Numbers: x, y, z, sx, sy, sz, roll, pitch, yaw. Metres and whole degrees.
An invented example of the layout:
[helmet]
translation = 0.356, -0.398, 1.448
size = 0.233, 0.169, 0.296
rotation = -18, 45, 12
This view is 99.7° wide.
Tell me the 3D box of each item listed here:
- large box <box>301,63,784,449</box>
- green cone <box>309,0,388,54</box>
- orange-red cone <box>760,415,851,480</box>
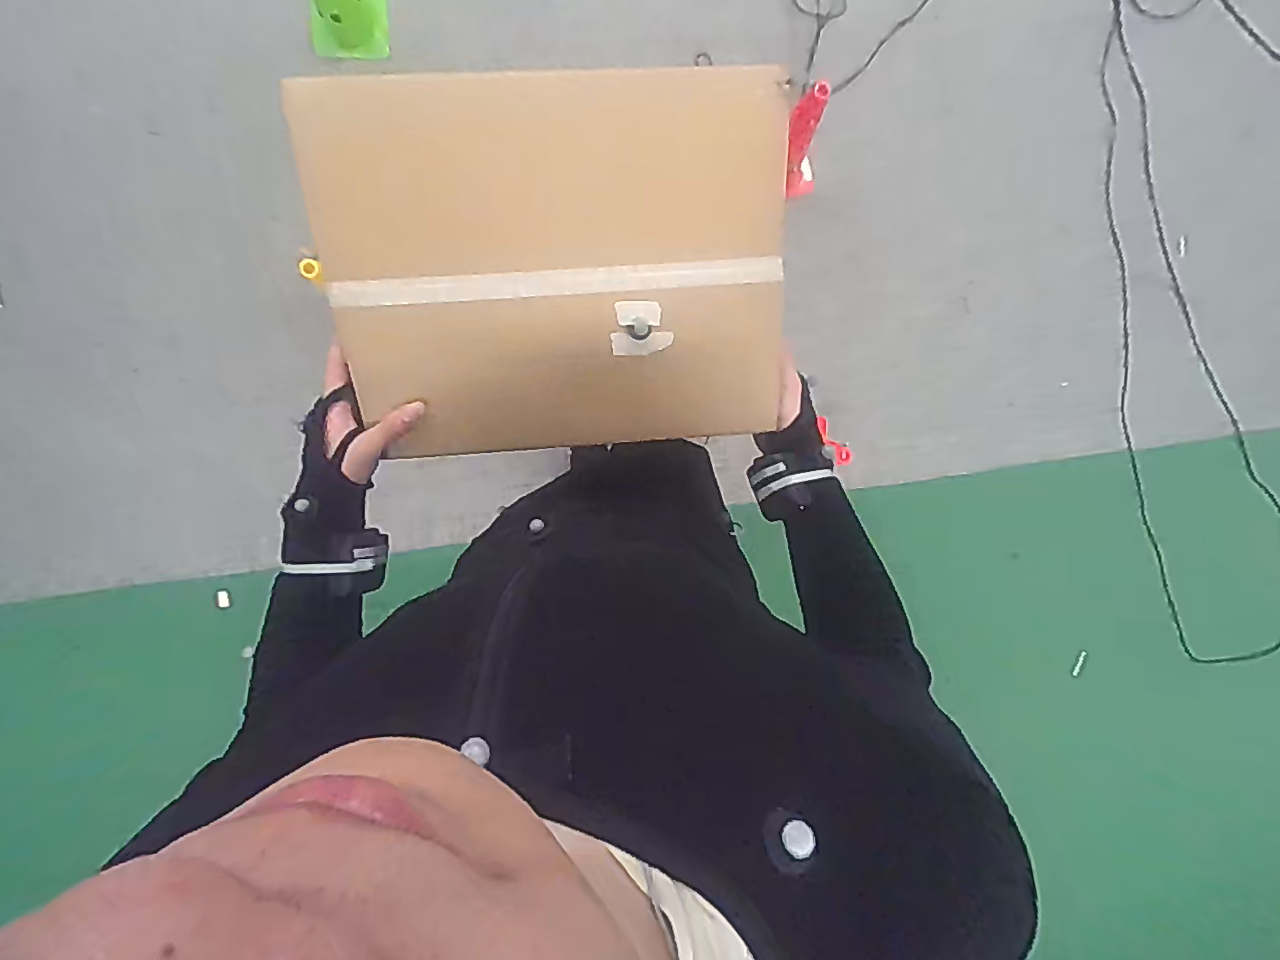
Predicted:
[large box]
translation = -0.083, -0.242, 0.633
size = 0.408, 0.320, 0.320
rotation = -5, 112, -5
[green cone]
translation = -0.778, -1.237, 1.286
size = 0.200, 0.368, 0.202
rotation = -1, 97, -3
[orange-red cone]
translation = 0.482, -0.078, 1.483
size = 0.199, 0.360, 0.198
rotation = 0, 97, -5
